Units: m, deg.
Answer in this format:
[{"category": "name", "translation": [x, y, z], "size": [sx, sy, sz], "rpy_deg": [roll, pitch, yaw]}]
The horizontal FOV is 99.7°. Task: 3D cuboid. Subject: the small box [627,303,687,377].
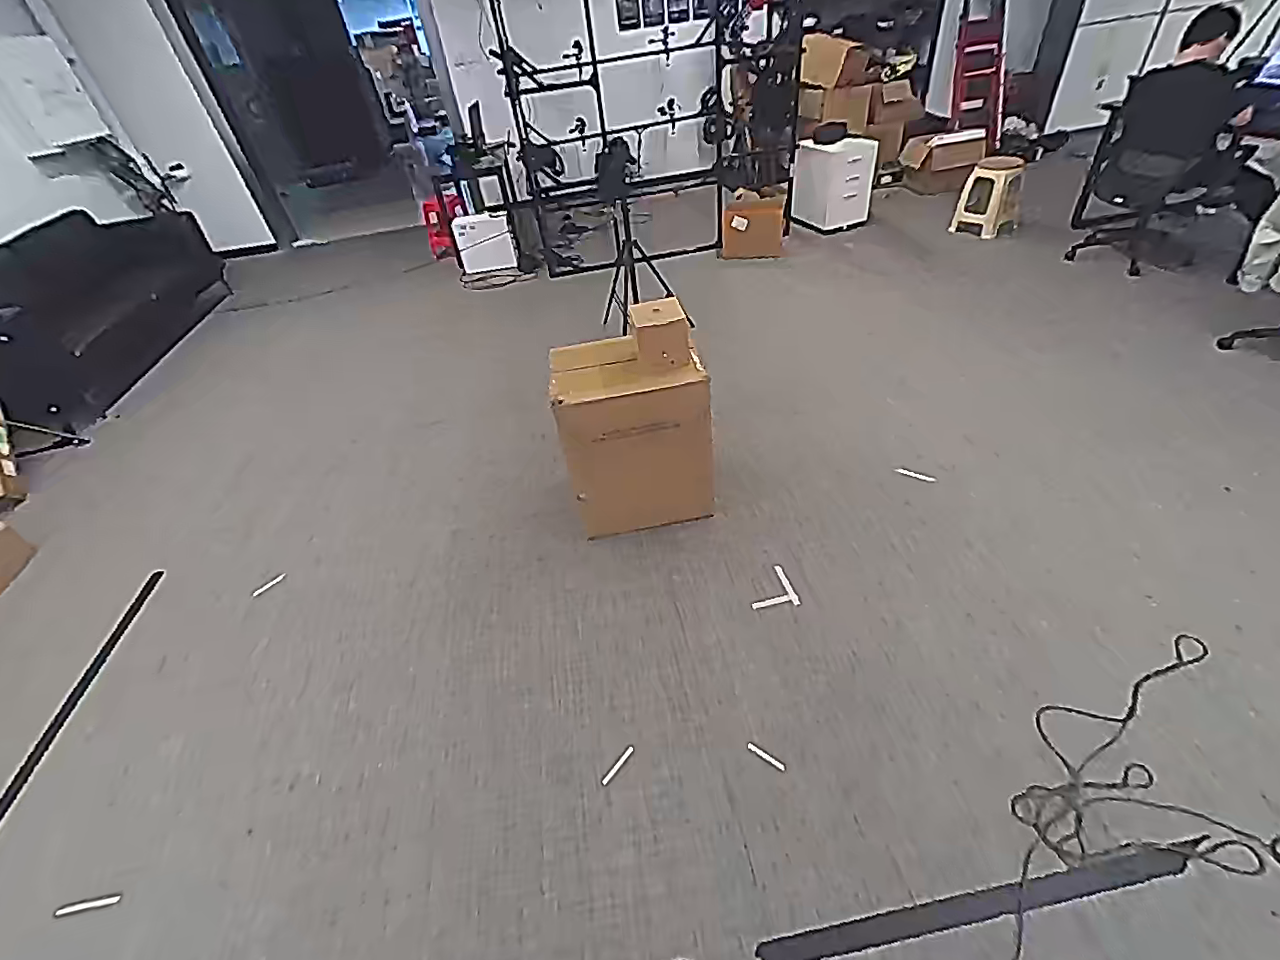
[{"category": "small box", "translation": [0.057, -0.471, 1.823], "size": [0.168, 0.176, 0.179], "rpy_deg": [-12, 42, -2]}]
